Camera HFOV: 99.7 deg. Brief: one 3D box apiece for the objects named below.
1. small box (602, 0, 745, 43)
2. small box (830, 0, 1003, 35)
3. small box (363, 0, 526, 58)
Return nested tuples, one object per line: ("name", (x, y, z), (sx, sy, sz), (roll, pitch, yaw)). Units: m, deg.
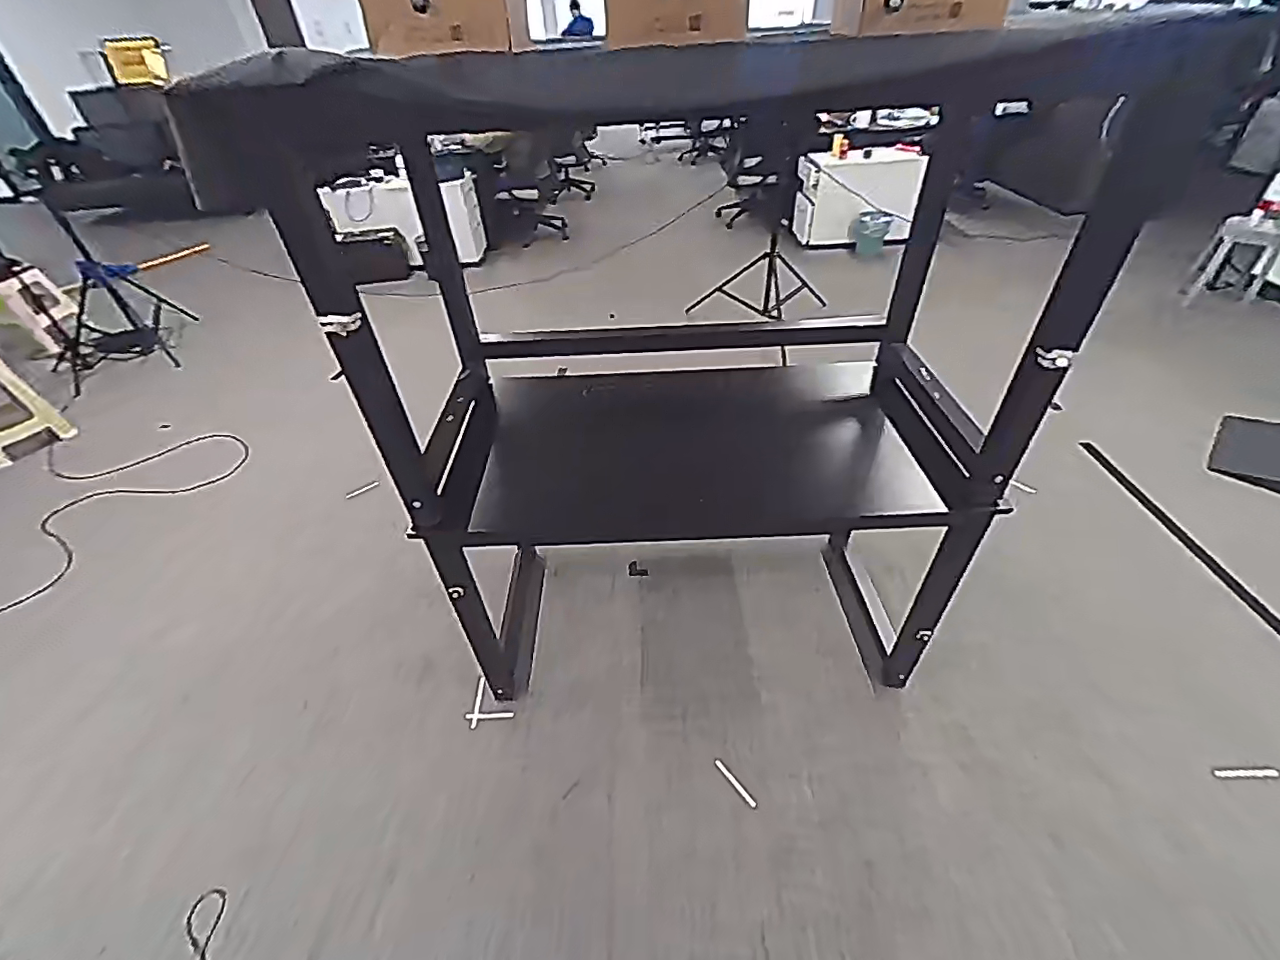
("small box", (0.037, -0.629, 0.640), (0.168, 0.176, 0.179), (-2, 39, 2))
("small box", (0.336, -0.643, 0.639), (0.168, 0.176, 0.179), (0, 39, 4))
("small box", (-0.236, -0.615, 0.644), (0.168, 0.176, 0.179), (-2, 39, 0))
